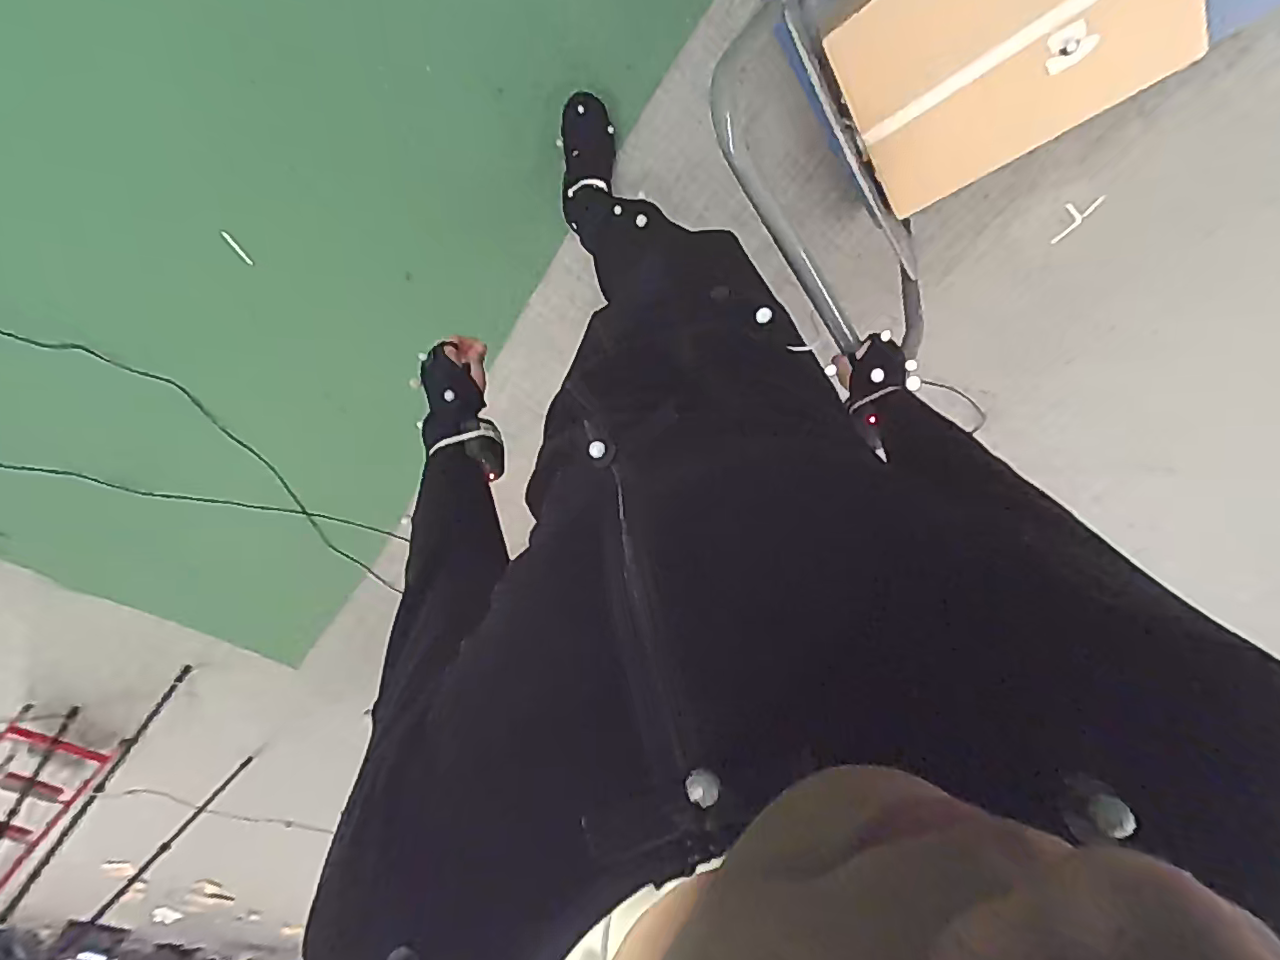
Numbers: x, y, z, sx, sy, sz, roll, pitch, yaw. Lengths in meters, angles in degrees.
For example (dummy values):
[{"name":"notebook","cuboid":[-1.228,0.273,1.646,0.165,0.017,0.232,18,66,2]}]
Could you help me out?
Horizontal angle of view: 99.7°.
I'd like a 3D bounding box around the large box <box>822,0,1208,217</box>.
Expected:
[{"name":"large box","cuboid":[0.546,-0.718,0.862,0.408,0.320,0.320,-22,126,34]}]
